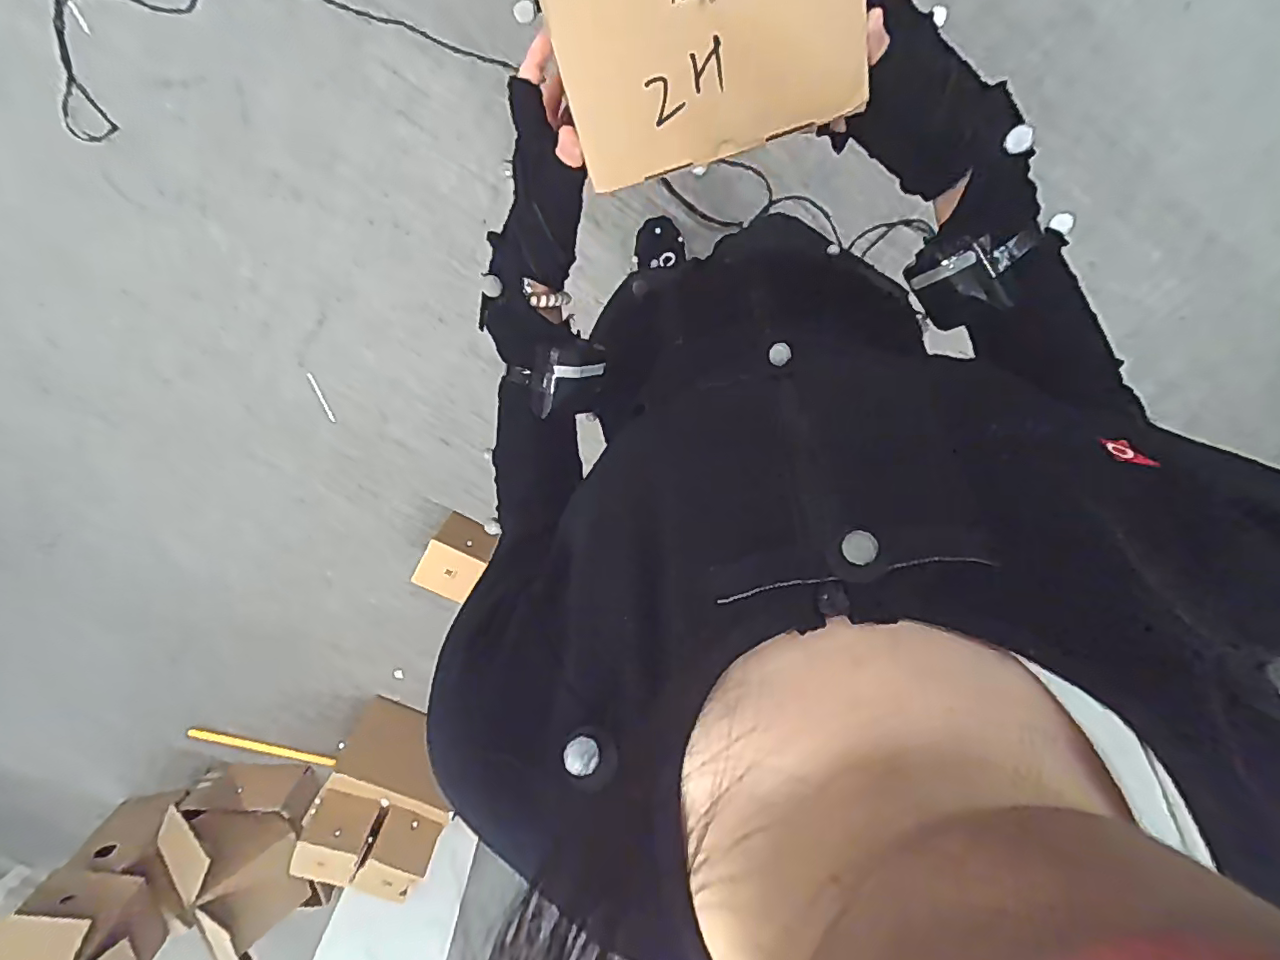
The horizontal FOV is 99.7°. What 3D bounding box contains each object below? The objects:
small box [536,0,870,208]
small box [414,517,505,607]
[{"bbox_3d":[0.024,-0.290,0.333,0.168,0.176,0.179,-15,123,5],"label":"small box"},{"bbox_3d":[-0.521,0.231,1.580,0.179,0.176,0.168,28,112,-13],"label":"small box"}]
